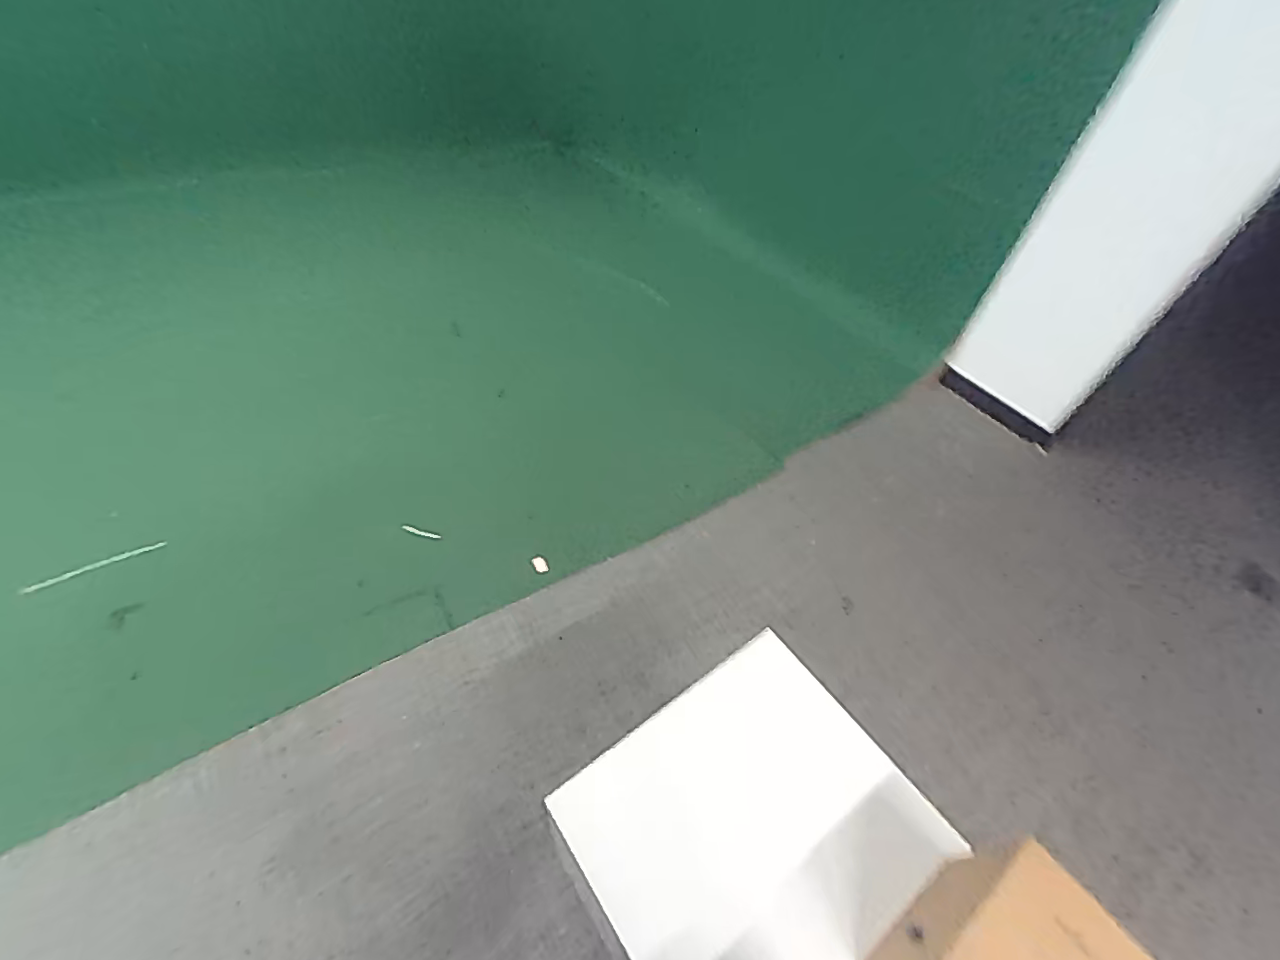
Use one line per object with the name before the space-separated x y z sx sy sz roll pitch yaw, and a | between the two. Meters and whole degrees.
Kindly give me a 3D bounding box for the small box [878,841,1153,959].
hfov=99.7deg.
small box | 0.355 0.487 0.507 0.179 0.176 0.168 -26 57 -26
